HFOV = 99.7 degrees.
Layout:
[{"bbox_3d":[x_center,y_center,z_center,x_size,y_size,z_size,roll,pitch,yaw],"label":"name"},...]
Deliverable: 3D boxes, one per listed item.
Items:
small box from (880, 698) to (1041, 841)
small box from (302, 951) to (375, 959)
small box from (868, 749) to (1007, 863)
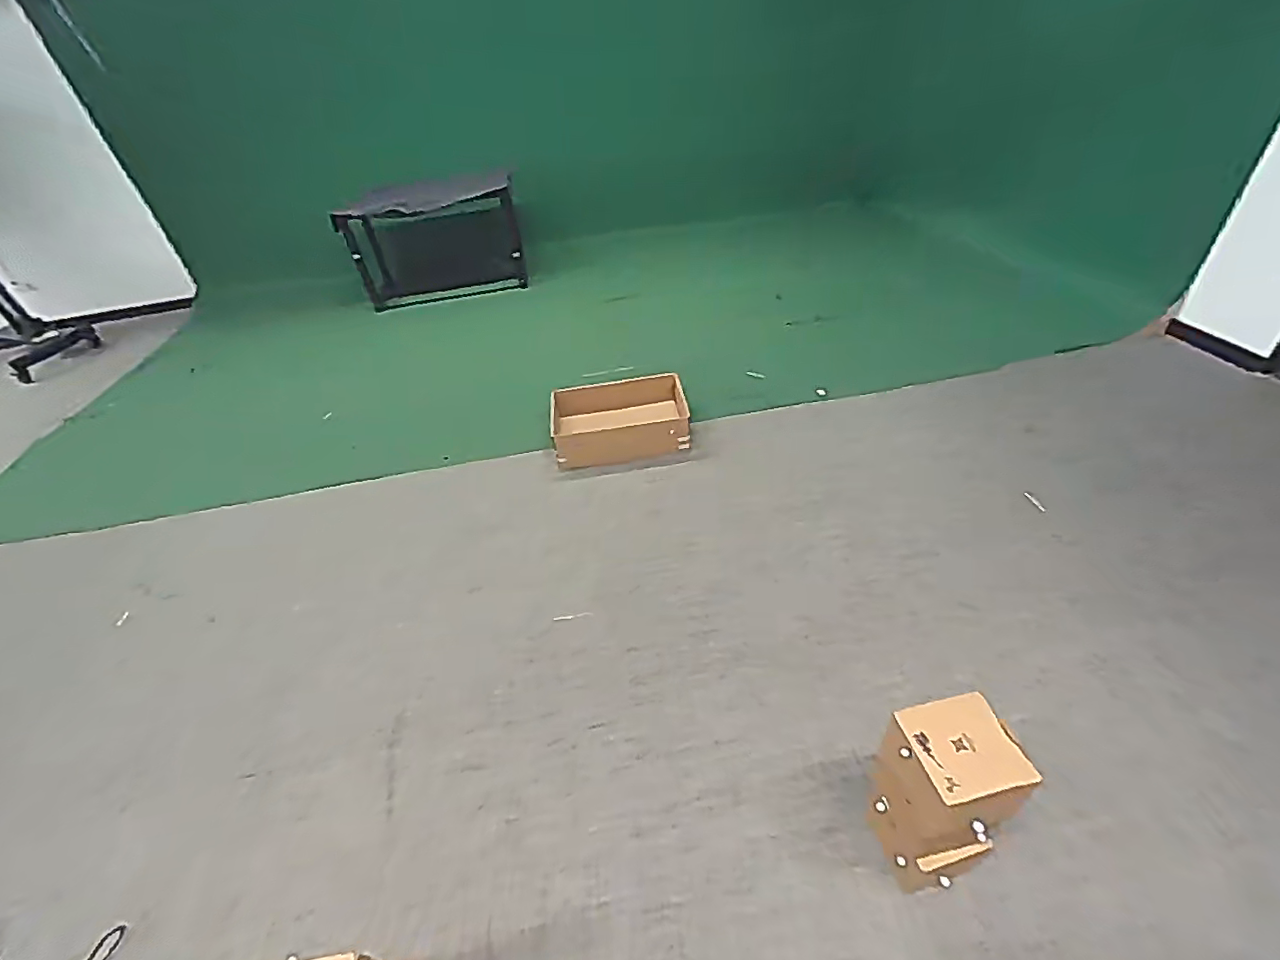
[{"bbox_3d":[0.576,0.535,1.001,0.179,0.176,0.168,-11,39,-5],"label":"small box"},{"bbox_3d":[-0.491,0.834,0.801,0.179,0.176,0.168,-9,40,-1],"label":"small box"},{"bbox_3d":[0.597,0.655,1.112,0.179,0.176,0.168,-12,39,-4],"label":"small box"}]
